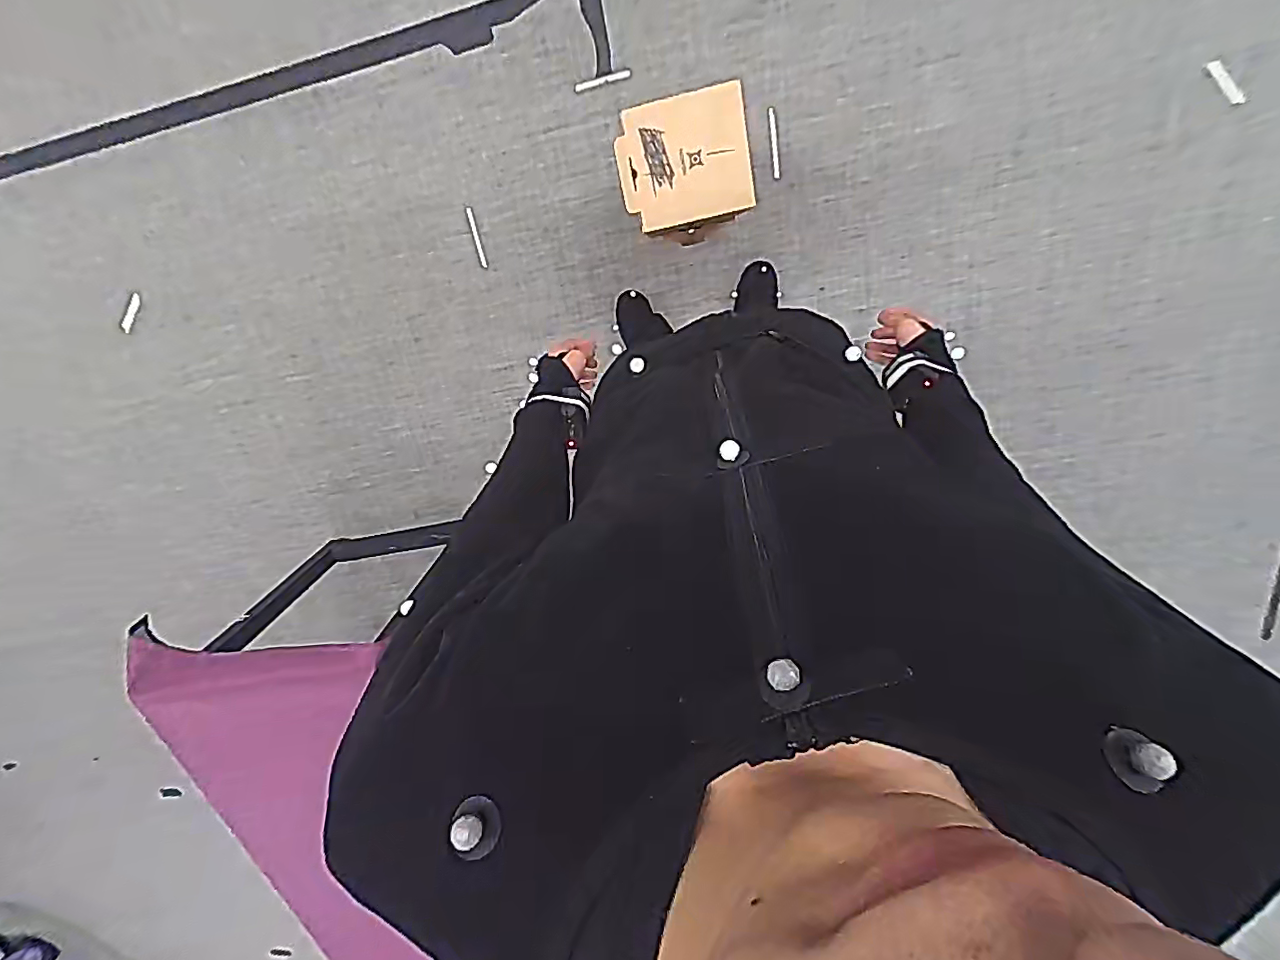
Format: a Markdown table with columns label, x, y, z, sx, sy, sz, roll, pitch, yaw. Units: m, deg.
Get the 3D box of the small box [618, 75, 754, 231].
| label | x | y | z | sx | sy | sz | roll | pitch | yaw |
| --- | --- | --- | --- | --- | --- | --- | --- | --- | --- |
| small box | 0.073 | -0.501 | 0.857 | 0.179 | 0.176 | 0.168 | -11 | 113 | 7 |
